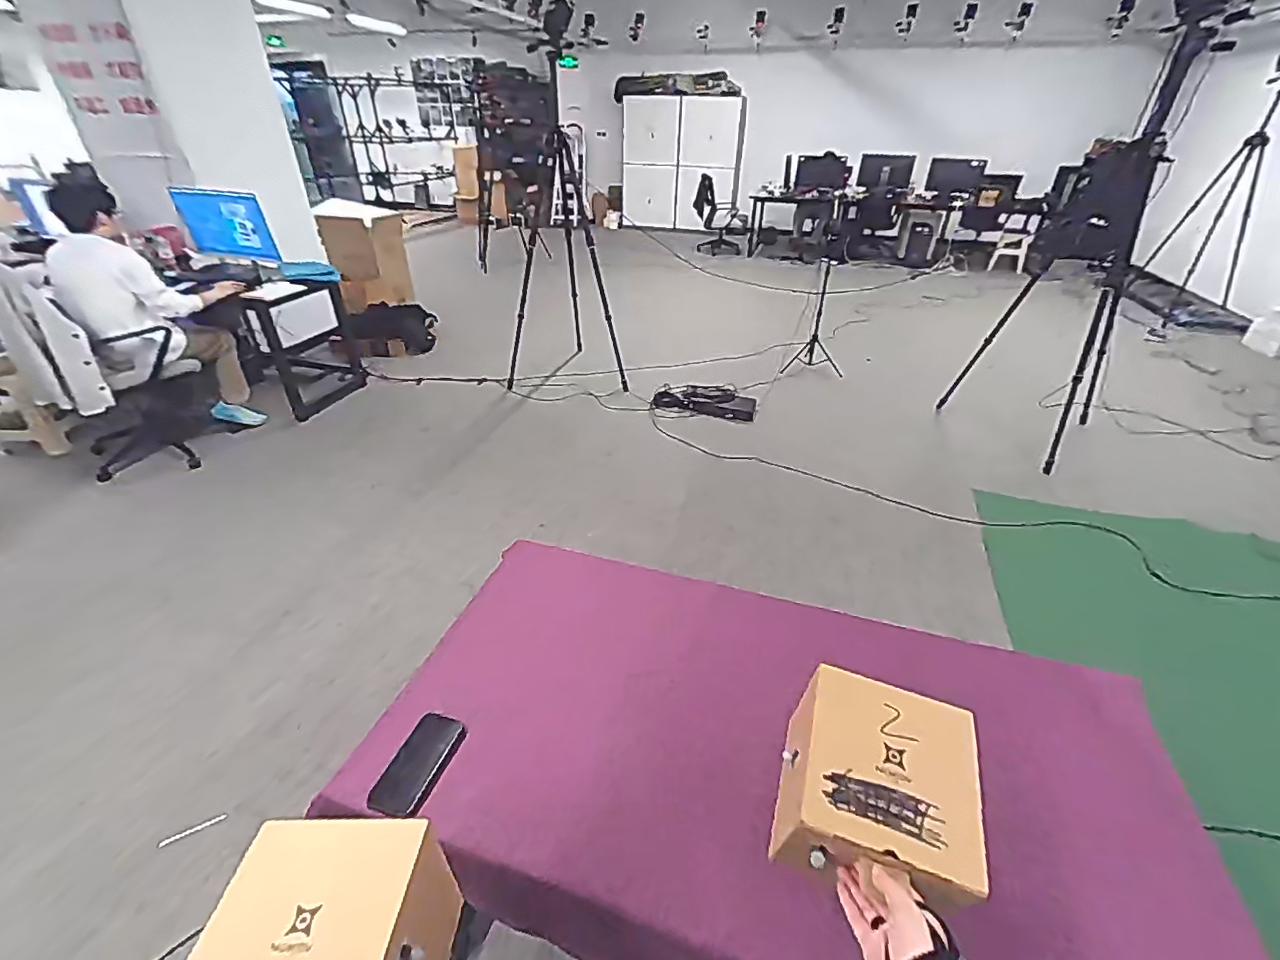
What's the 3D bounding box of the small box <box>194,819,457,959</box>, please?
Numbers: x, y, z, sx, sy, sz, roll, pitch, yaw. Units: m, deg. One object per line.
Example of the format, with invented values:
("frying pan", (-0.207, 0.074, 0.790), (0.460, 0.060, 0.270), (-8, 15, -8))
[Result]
("small box", (-0.285, 0.453, 0.506), (0.168, 0.176, 0.179), (-1, 31, 2))
